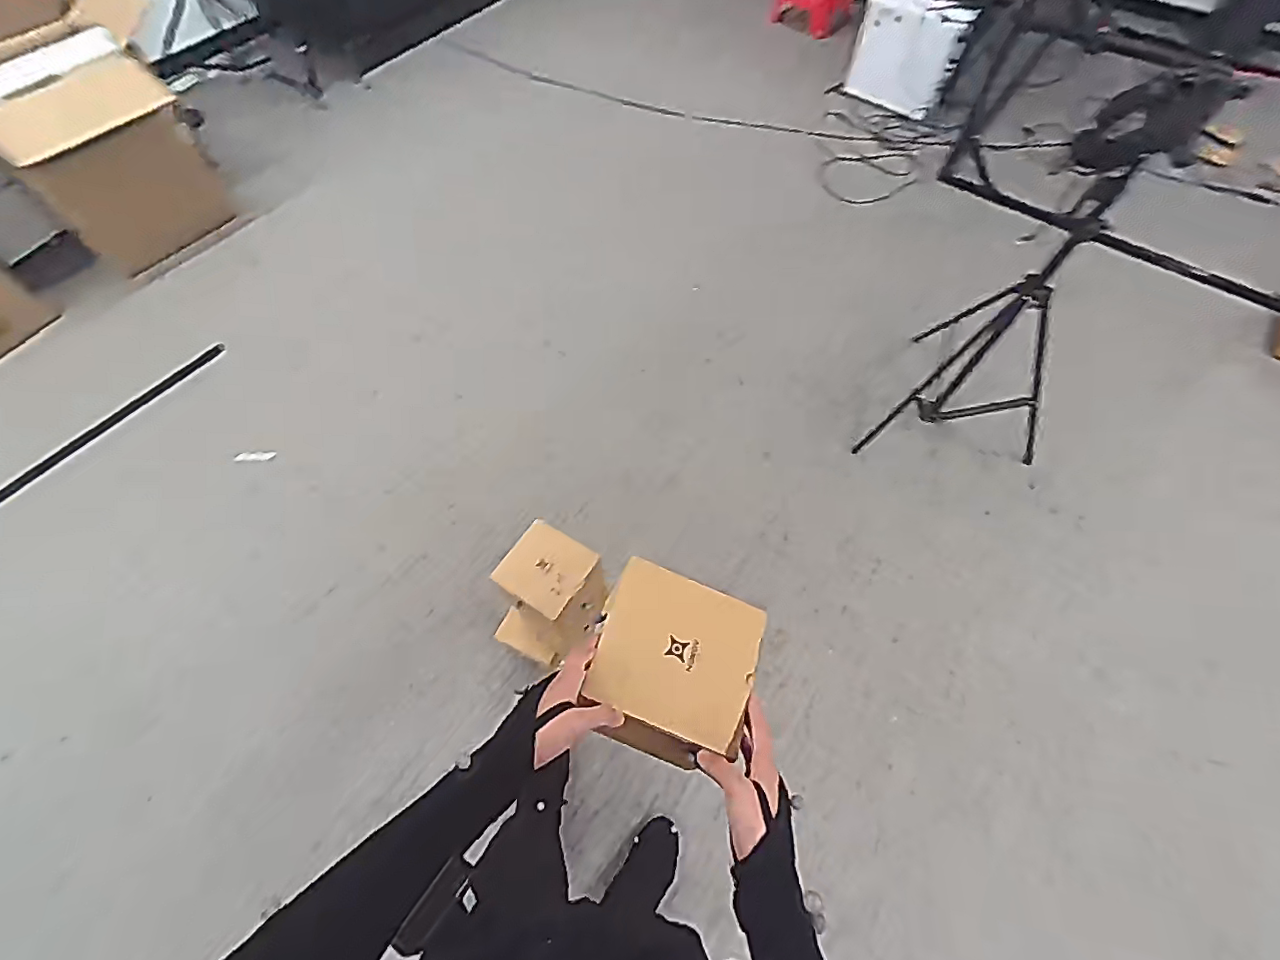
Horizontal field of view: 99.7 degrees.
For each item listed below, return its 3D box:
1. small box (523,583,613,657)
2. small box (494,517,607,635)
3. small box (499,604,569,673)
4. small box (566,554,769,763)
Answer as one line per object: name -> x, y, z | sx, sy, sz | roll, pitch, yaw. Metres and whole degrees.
small box -> -0.178, 0.307, 1.337 | 0.168, 0.176, 0.179 | 37, 67, 19
small box -> -0.190, 0.218, 1.198 | 0.179, 0.176, 0.168 | 30, 65, 16
small box -> -0.255, 0.399, 1.472 | 0.168, 0.176, 0.179 | 23, 64, 13
small box -> 0.025, 0.218, 0.638 | 0.179, 0.176, 0.168 | 23, 57, -2
